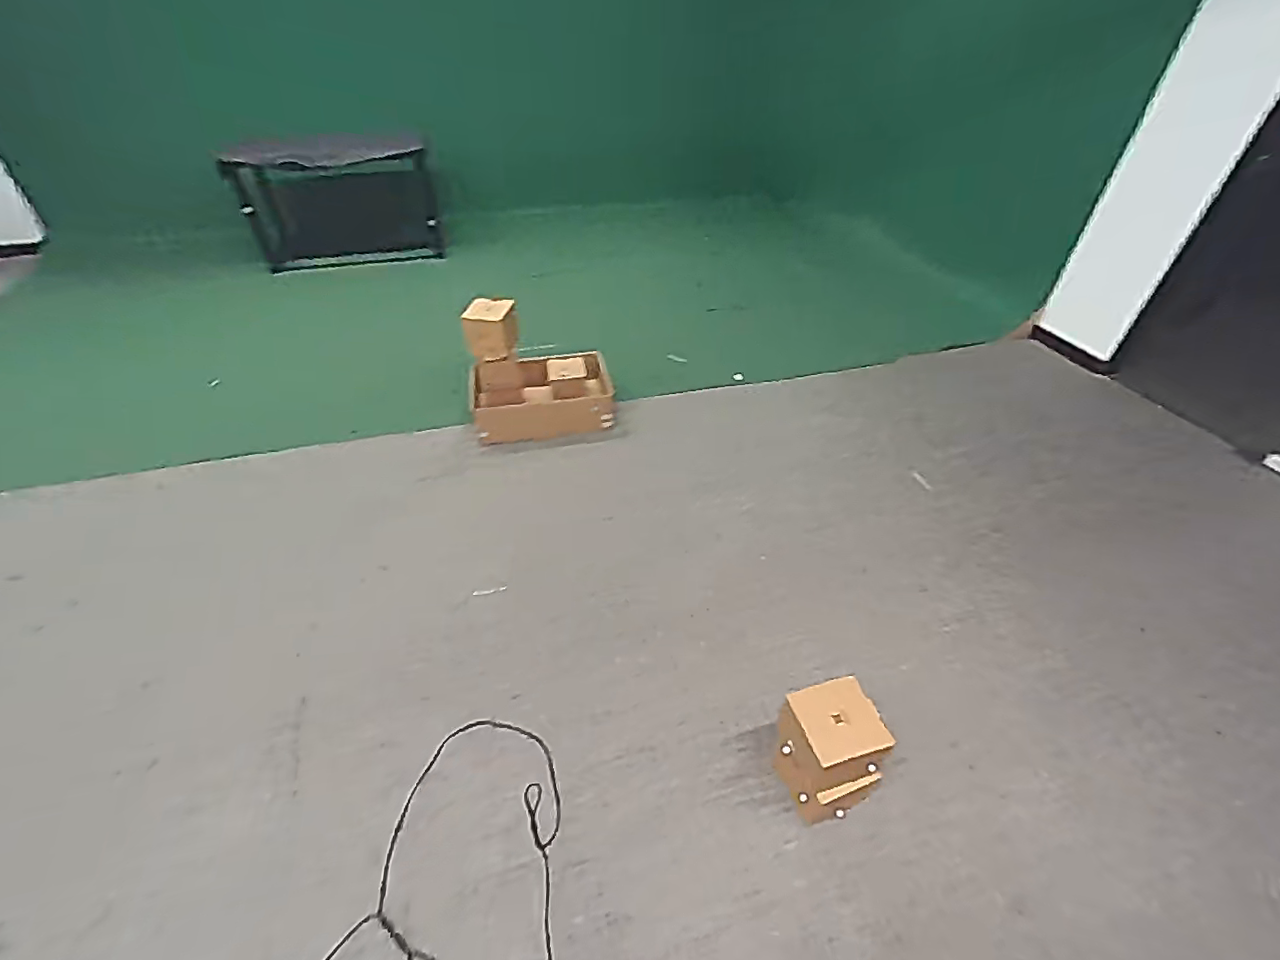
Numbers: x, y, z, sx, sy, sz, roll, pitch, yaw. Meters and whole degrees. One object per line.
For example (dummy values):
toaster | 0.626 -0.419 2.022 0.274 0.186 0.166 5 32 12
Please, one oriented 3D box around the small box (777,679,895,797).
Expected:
small box | 0.434 0.587 1.229 0.179 0.176 0.168 -11 42 -12

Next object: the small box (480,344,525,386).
small box | -0.598 -0.520 2.356 0.168 0.176 0.179 -8 42 -11

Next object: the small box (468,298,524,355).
small box | -0.591 -0.636 2.242 0.168 0.176 0.179 7 42 5

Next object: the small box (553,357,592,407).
small box | -0.318 -0.460 2.542 0.168 0.176 0.179 -6 43 -6

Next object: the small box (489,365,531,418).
small box | -0.598 -0.407 2.475 0.168 0.176 0.179 -10 44 -11
